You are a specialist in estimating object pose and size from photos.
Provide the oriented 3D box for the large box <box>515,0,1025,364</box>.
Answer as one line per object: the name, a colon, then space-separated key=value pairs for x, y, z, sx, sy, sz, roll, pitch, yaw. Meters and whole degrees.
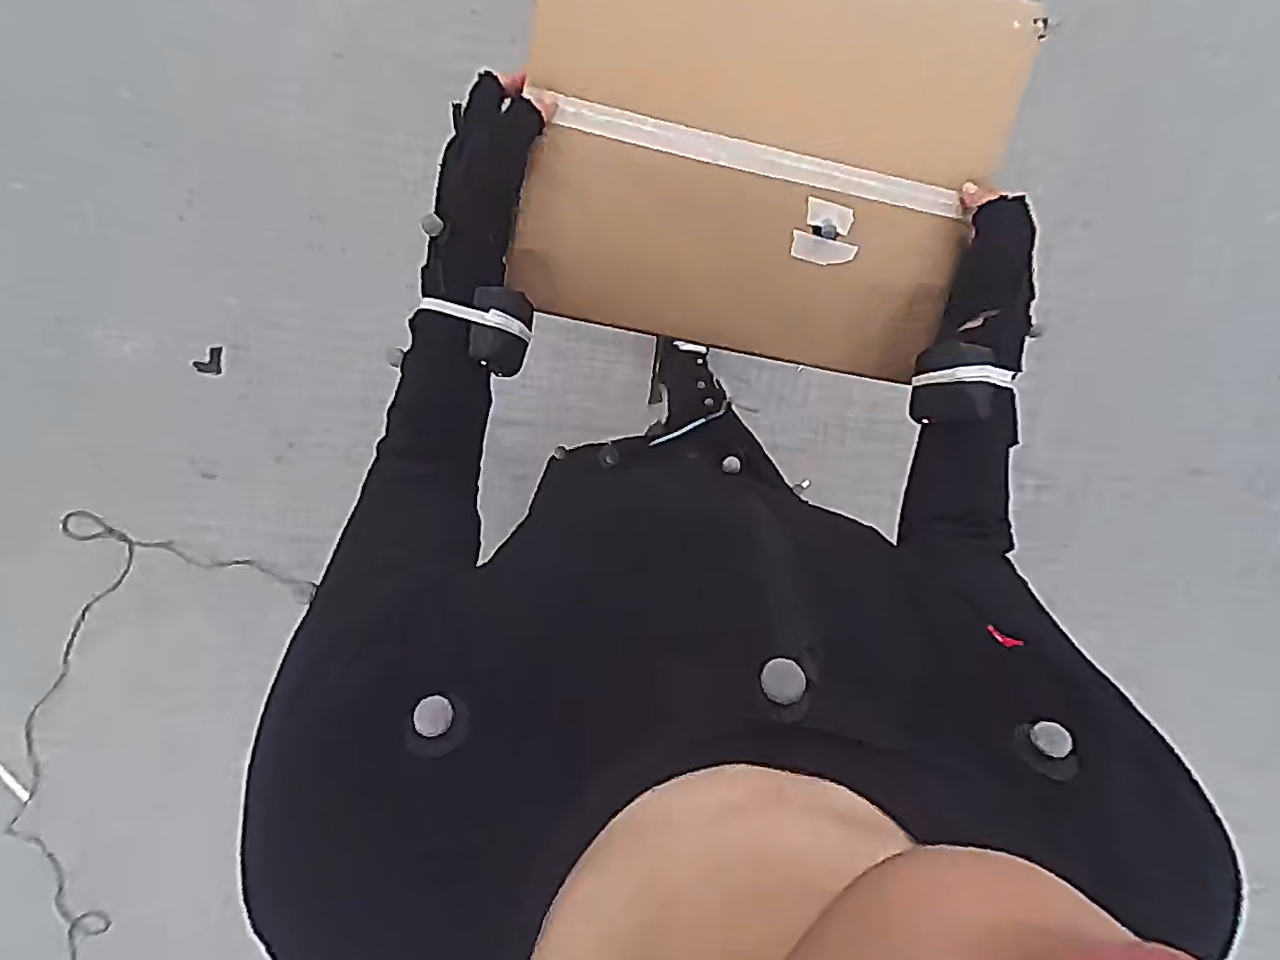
large box: x=0.091 y=-0.330 z=0.611 sx=0.408 sy=0.320 sz=0.320 roll=9 pitch=108 yaw=-8
